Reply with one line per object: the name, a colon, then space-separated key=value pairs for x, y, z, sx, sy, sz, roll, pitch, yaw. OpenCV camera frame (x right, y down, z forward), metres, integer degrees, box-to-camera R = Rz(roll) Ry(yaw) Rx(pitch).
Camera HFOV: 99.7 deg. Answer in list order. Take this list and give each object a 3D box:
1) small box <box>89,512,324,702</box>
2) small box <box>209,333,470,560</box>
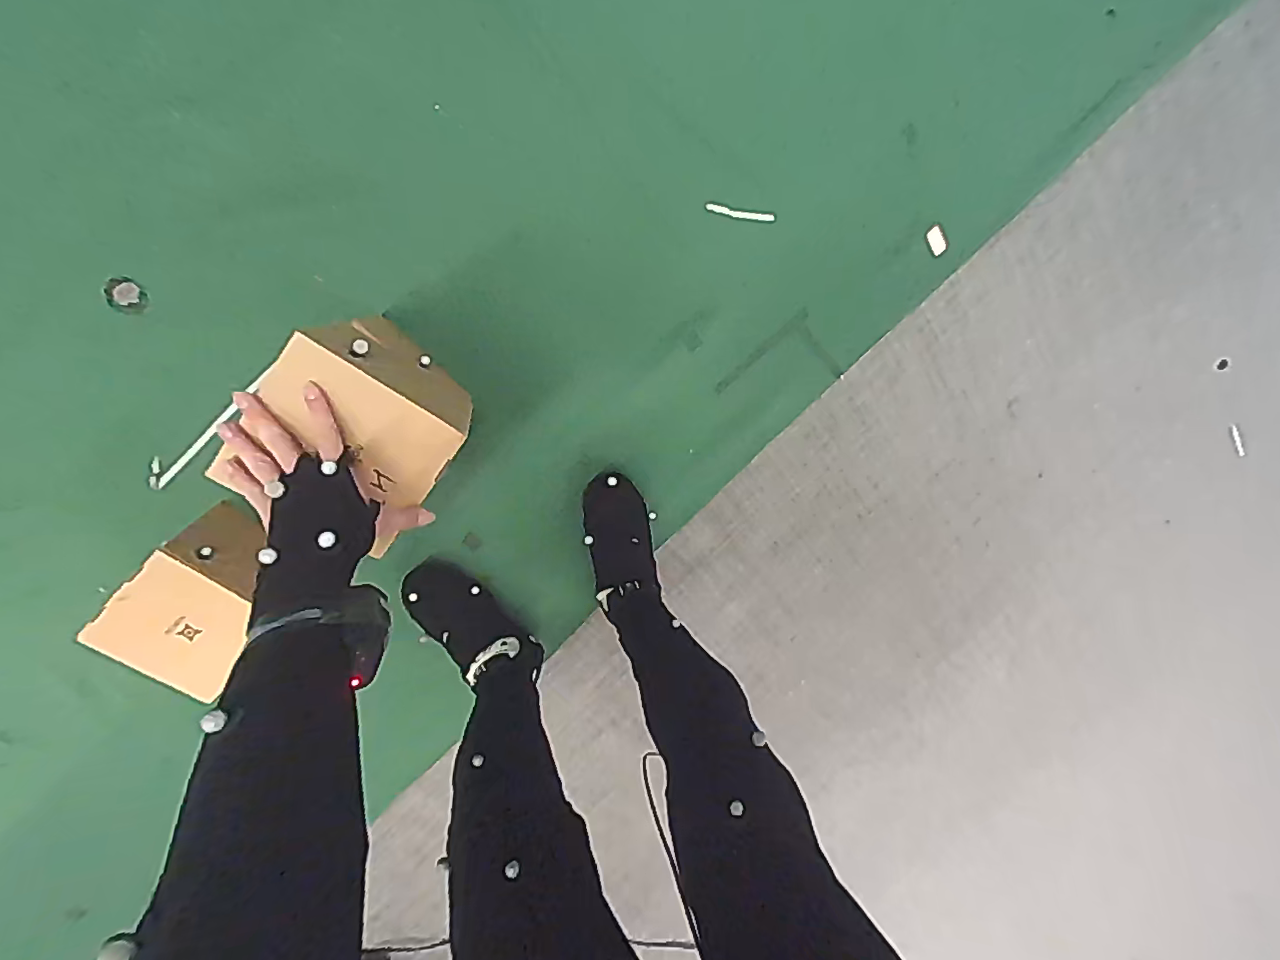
small box: x=-0.605 y=0.174 z=0.787 sx=0.168 sy=0.176 sz=0.179 roll=-45 pitch=112 yaw=5
small box: x=-0.311 y=-0.047 z=0.603 sx=0.179 sy=0.176 sz=0.168 roll=34 pitch=98 yaw=-22
